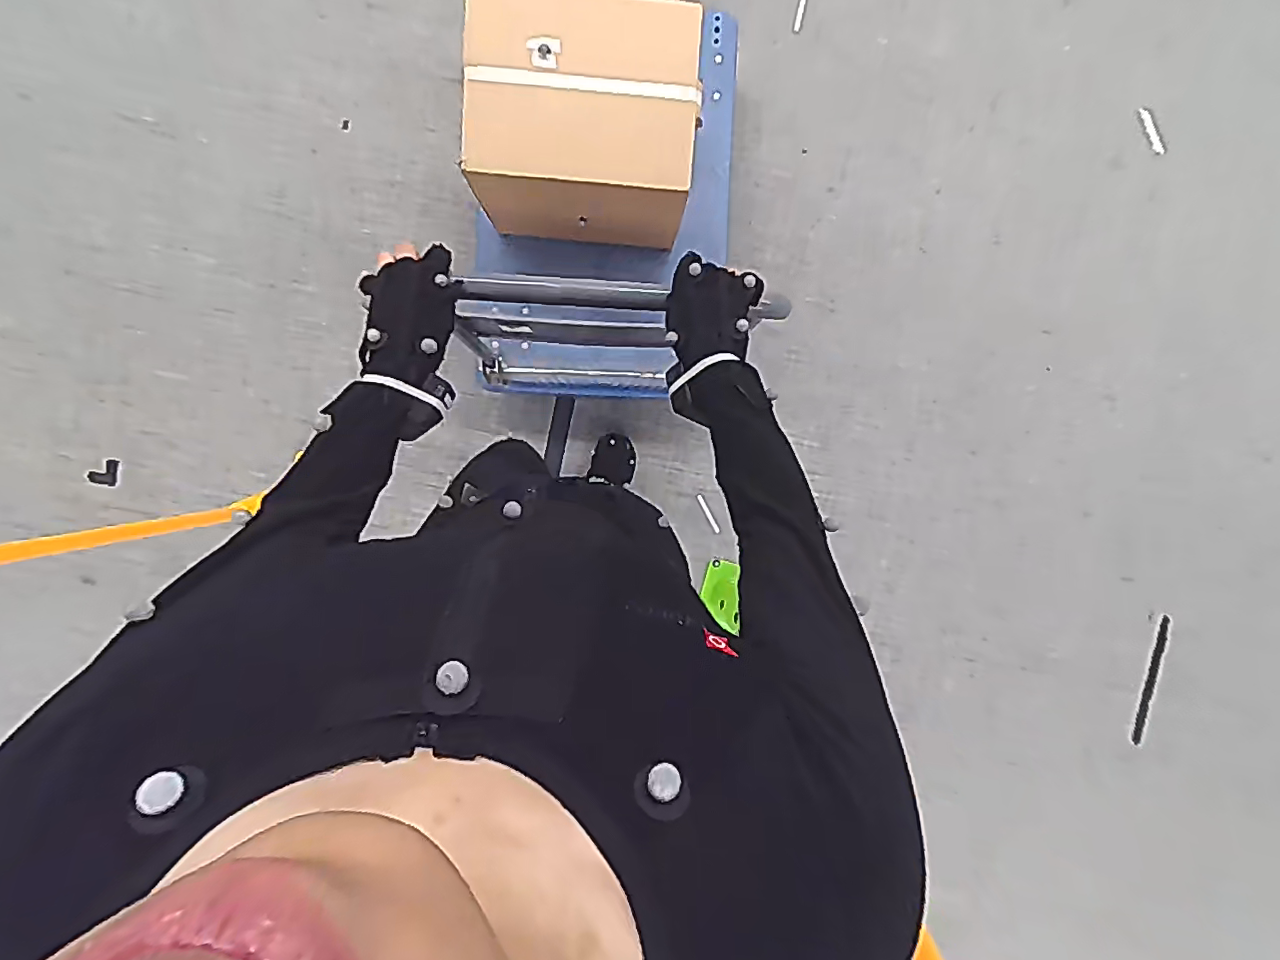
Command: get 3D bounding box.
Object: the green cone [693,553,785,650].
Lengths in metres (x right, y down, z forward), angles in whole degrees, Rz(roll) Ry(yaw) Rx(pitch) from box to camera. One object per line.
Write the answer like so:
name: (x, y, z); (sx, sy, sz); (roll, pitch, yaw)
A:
green cone: (0.275, 0.333, 1.338); (0.202, 0.368, 0.200); (16, 94, -5)

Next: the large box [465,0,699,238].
large box: (-0.105, -0.703, 1.090); (0.408, 0.320, 0.320); (4, 95, -2)
